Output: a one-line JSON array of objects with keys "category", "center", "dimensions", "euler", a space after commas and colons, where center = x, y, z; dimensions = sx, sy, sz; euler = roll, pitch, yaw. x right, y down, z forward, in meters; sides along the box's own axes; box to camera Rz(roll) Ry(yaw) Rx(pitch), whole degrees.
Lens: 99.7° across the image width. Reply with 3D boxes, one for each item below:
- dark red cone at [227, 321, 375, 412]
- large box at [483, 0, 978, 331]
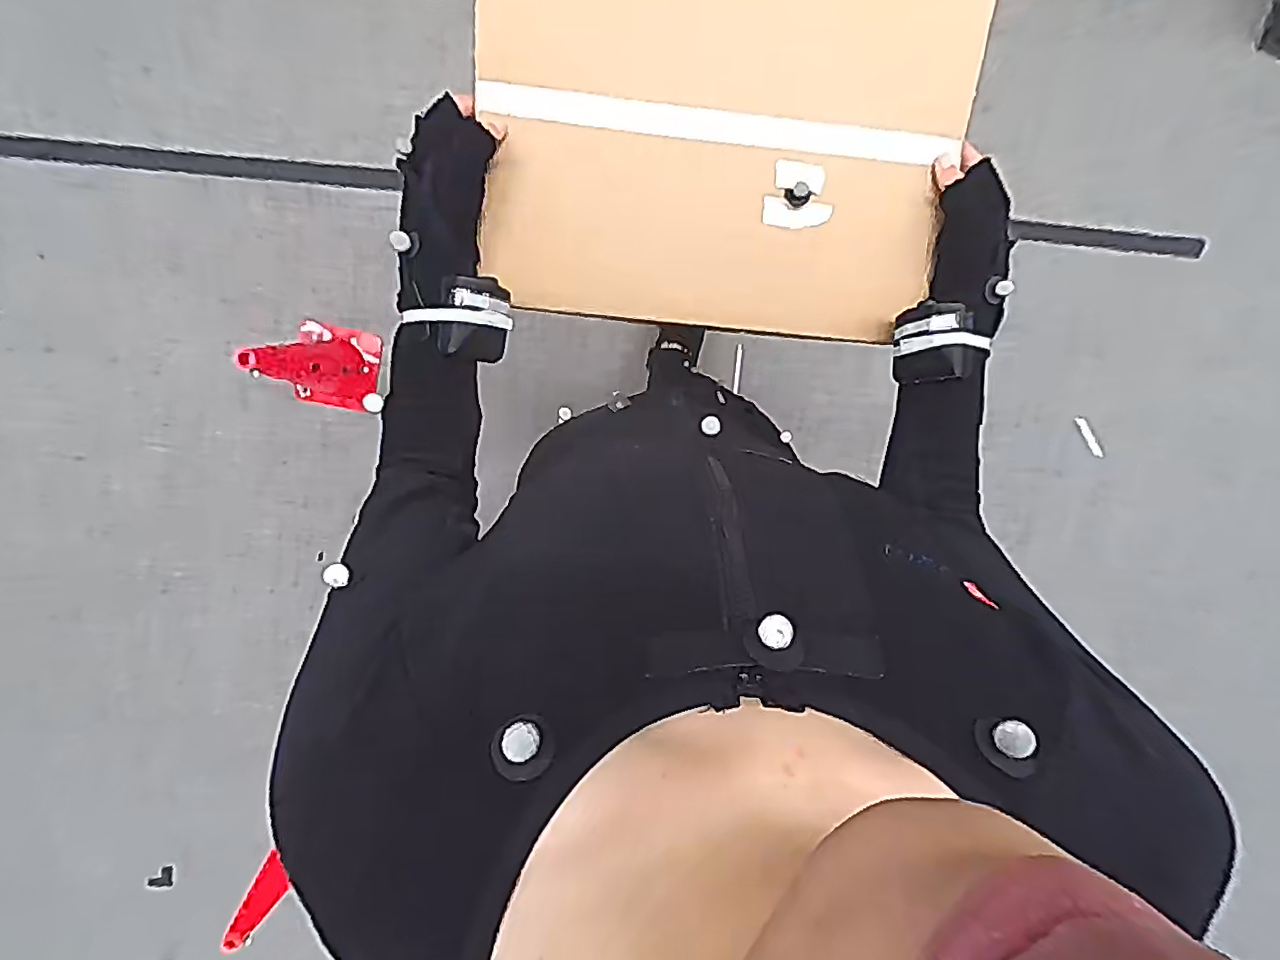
[{"category": "dark red cone", "center": [-0.754, -0.256, 1.180], "dimensions": [0.201, 0.394, 0.202], "euler": [10, 98, -6]}, {"category": "large box", "center": [0.059, -0.338, 0.596], "dimensions": [0.408, 0.320, 0.320], "euler": [4, 106, -5]}]
